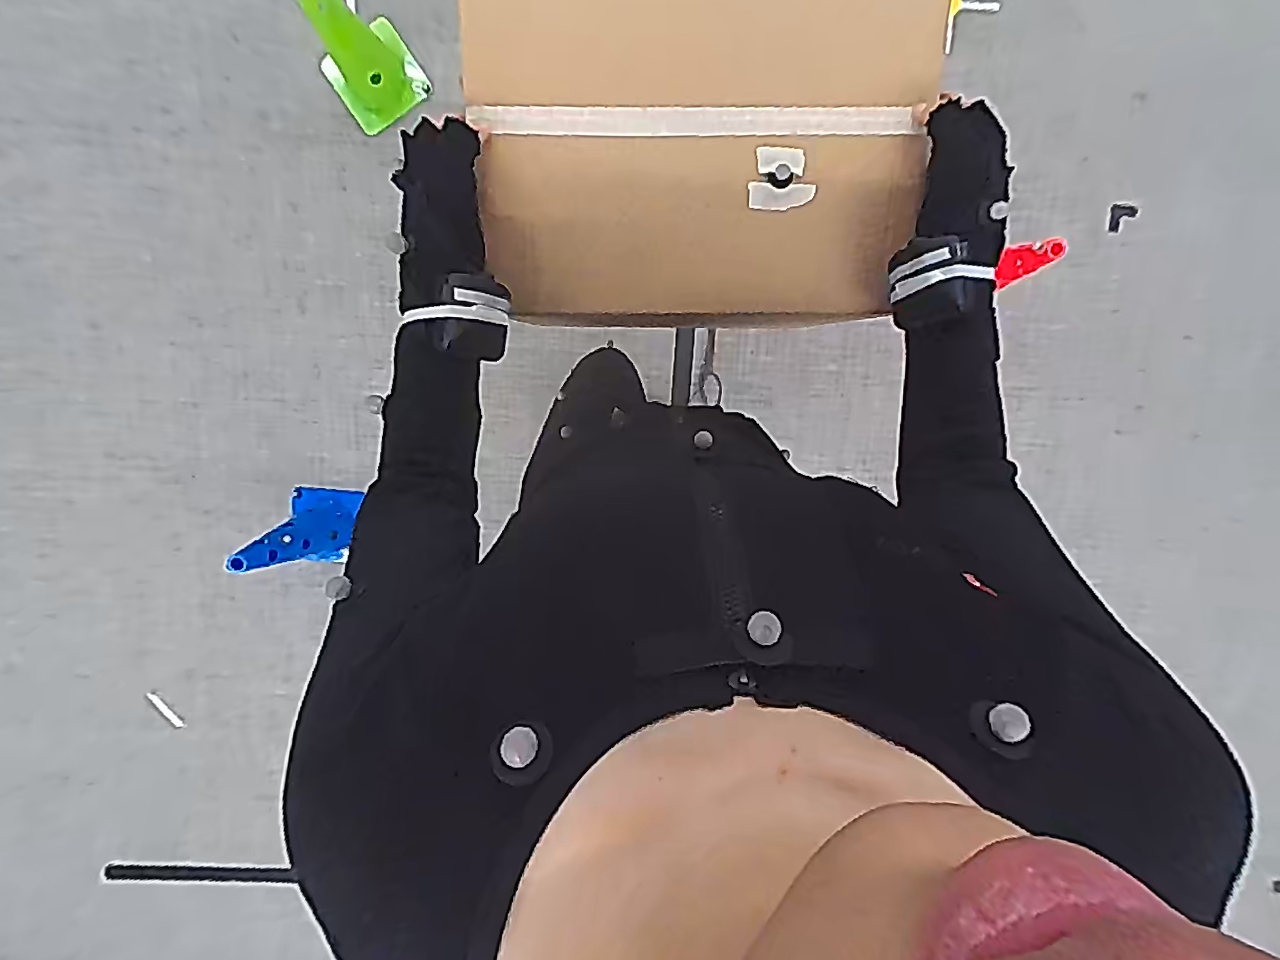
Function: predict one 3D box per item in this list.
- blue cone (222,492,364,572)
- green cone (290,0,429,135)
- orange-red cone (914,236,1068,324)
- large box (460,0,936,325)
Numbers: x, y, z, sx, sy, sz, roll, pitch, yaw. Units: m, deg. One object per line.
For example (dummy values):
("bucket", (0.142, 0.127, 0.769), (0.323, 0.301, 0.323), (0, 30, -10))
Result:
("blue cone", (-0.845, 0.150, 1.308), (0.192, 0.380, 0.193), (6, 98, -1))
("green cone", (-0.639, -0.949, 1.138), (0.202, 0.368, 0.200), (-35, 97, 5))
("orange-red cone", (0.825, -0.491, 1.249), (0.198, 0.360, 0.199), (0, 97, -3))
("large box", (0.046, -0.349, 0.612), (0.408, 0.320, 0.320), (-1, 104, -2))
